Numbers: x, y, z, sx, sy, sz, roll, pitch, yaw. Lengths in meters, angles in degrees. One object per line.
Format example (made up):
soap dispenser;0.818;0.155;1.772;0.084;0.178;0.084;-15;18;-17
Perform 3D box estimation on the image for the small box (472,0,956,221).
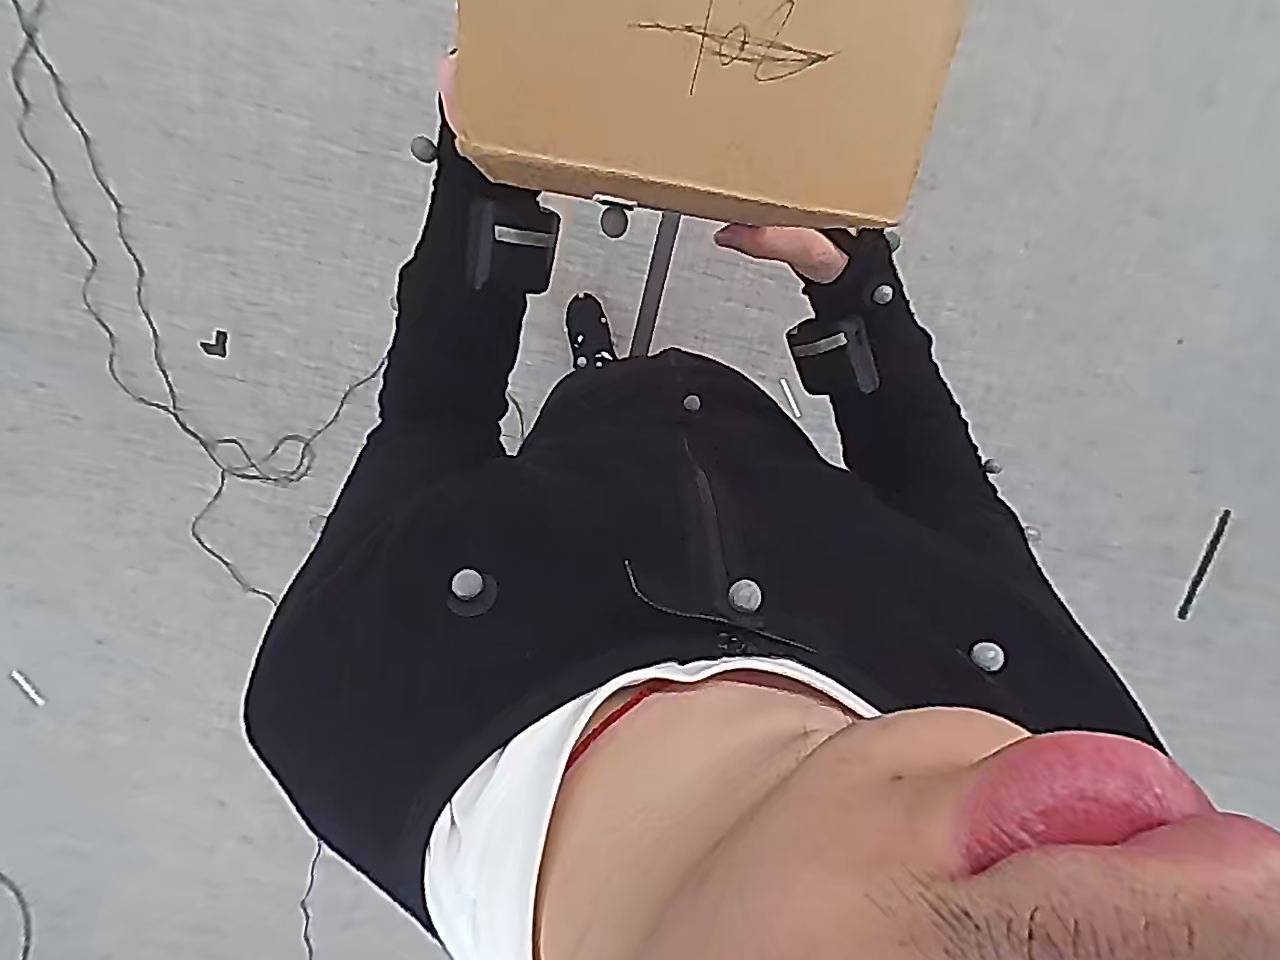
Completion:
small box;0.020;-0.222;0.239;0.168;0.176;0.179;3;115;-12
